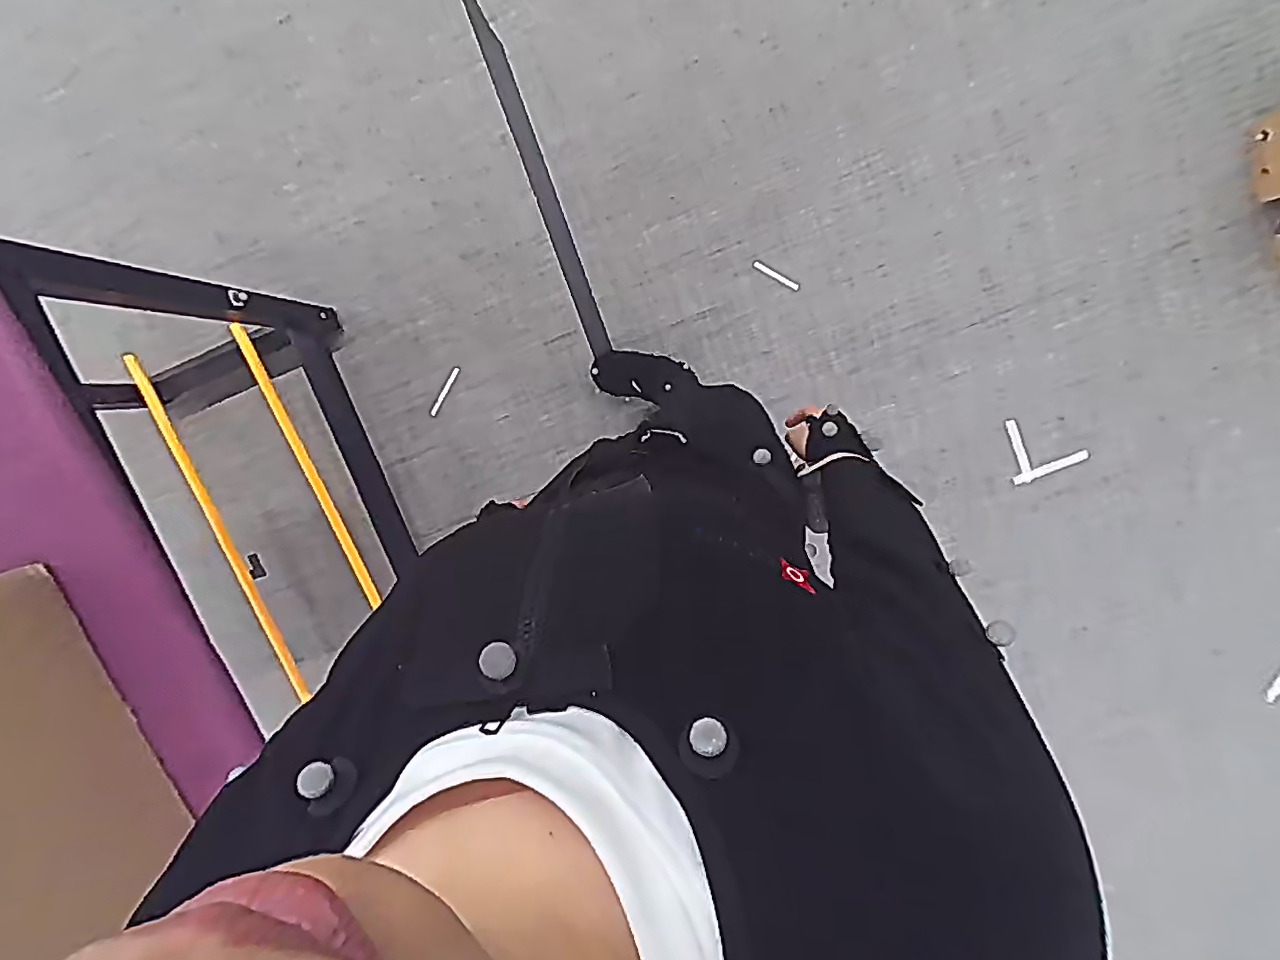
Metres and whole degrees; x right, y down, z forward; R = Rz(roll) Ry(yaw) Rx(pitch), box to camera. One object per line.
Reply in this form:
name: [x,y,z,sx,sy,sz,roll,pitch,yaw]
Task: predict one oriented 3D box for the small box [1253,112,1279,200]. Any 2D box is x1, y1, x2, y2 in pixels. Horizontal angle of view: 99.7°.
small box: [1.384,-0.686,1.068,0.179,0.176,0.168,-18,97,6]
